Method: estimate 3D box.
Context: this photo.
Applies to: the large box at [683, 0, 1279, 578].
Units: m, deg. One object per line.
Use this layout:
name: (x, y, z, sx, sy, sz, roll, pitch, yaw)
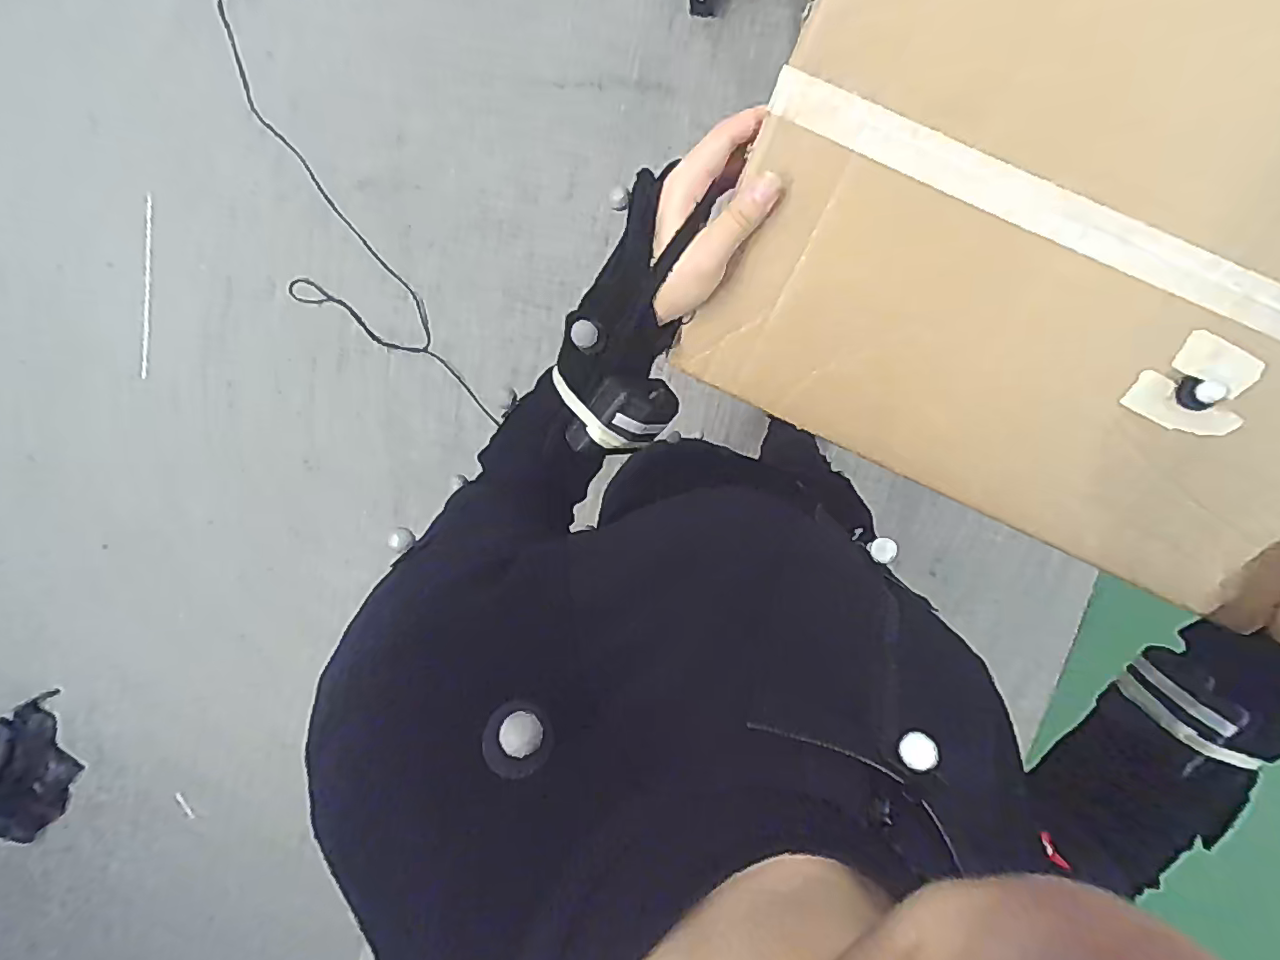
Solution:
large box: (0.285, -0.198, 0.412, 0.408, 0.320, 0.320, 24, 119, 1)
